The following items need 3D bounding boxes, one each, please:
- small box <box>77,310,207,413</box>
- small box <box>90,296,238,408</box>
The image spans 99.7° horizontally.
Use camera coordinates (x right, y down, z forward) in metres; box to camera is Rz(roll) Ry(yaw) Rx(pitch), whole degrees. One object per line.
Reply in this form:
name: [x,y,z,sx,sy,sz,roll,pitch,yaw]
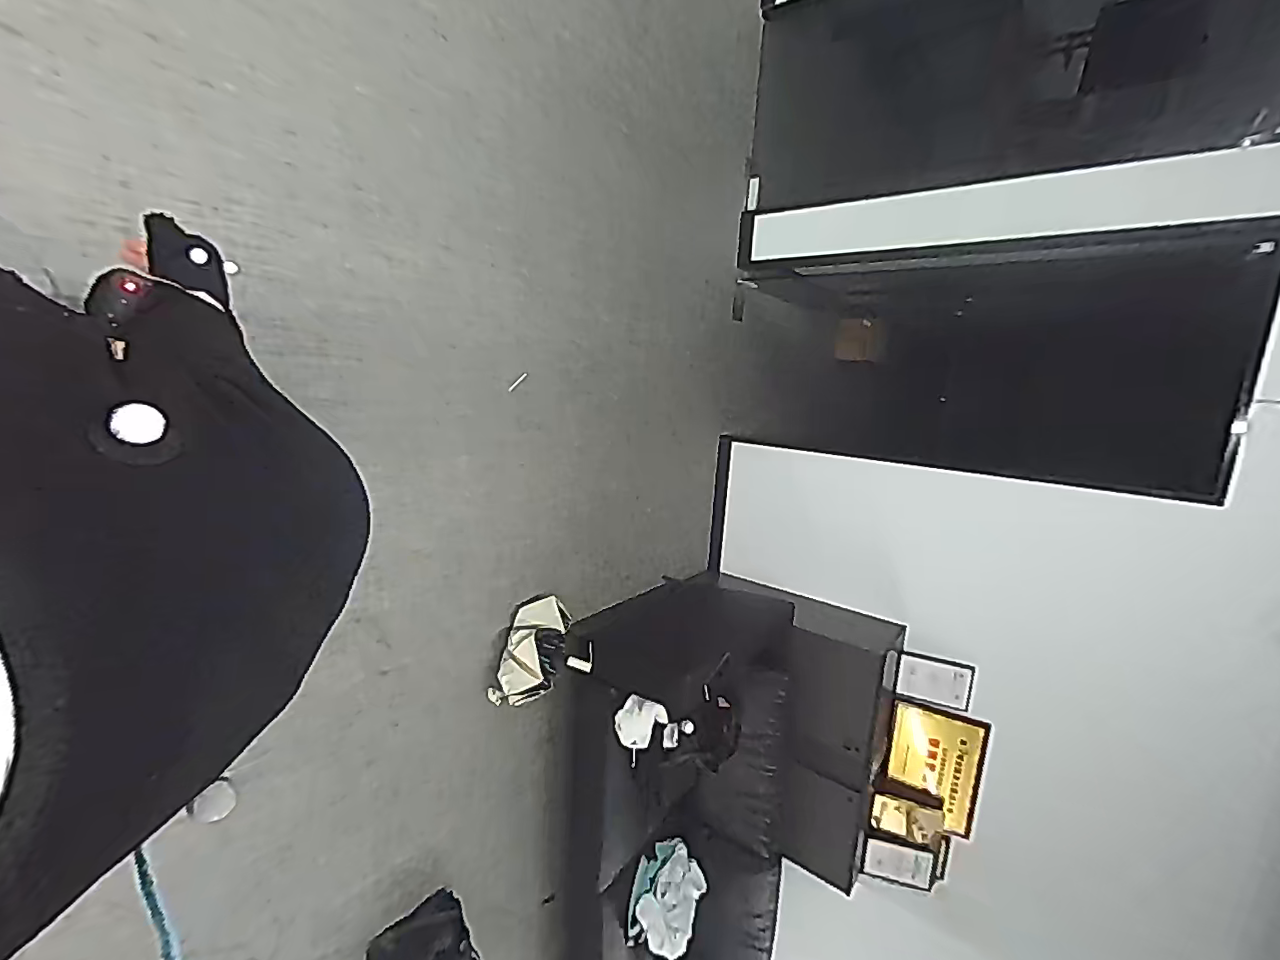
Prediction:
small box: [-0.984,-0.234,1.074,0.168,0.176,0.179,-4,103,-54]
small box: [-0.854,-0.224,0.972,0.168,0.176,0.179,-9,107,-53]
